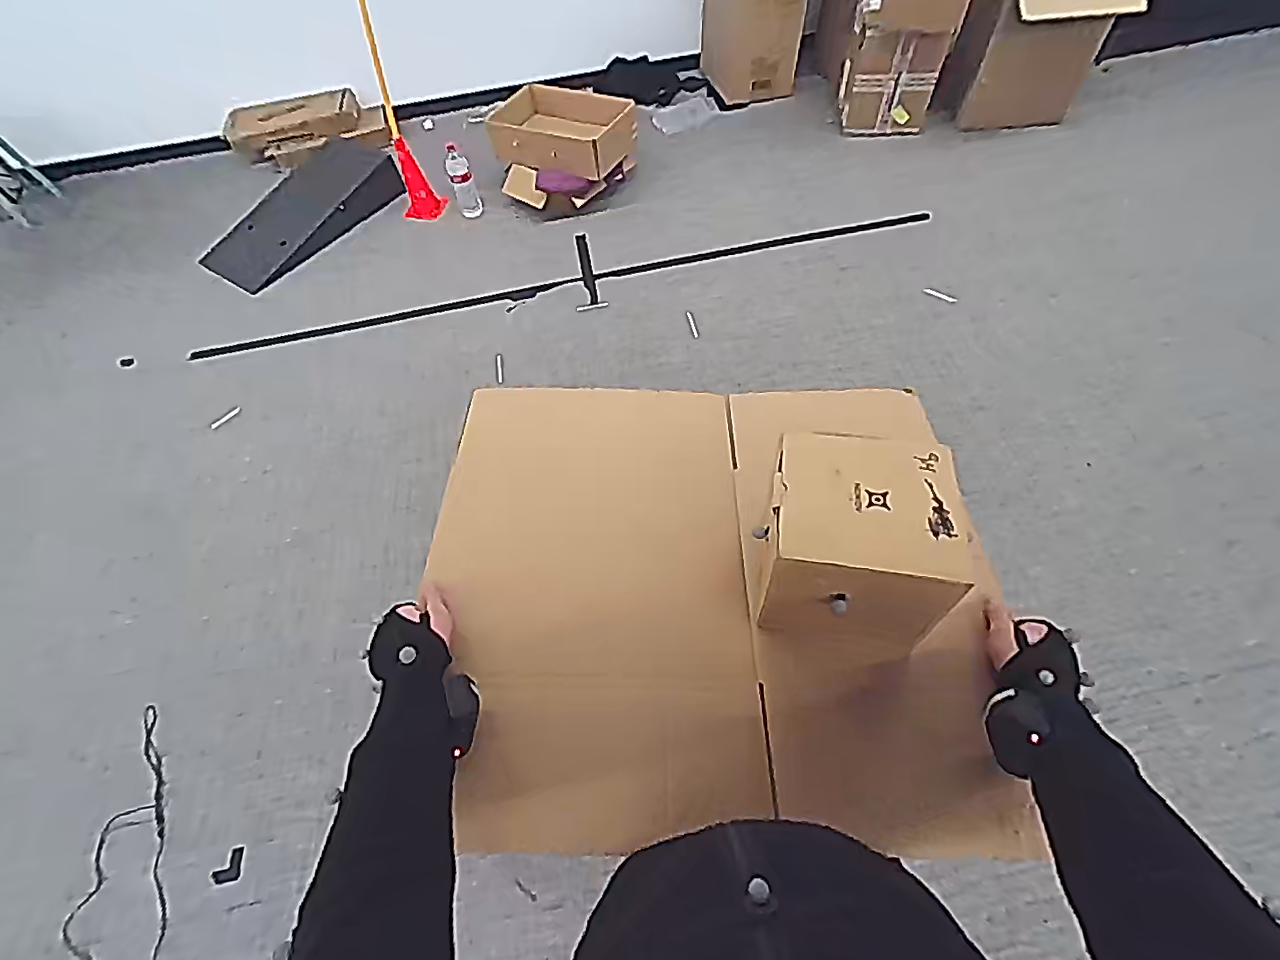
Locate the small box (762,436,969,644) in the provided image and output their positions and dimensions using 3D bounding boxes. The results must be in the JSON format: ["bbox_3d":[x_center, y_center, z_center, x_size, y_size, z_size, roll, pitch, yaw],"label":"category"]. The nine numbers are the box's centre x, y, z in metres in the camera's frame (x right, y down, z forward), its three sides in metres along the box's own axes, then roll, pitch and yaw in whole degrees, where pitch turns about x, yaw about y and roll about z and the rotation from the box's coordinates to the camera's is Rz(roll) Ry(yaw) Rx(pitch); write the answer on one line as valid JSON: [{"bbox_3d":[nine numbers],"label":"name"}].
[{"bbox_3d":[0.235,0.071,0.611,0.179,0.176,0.168,6,54,10],"label":"small box"}]
